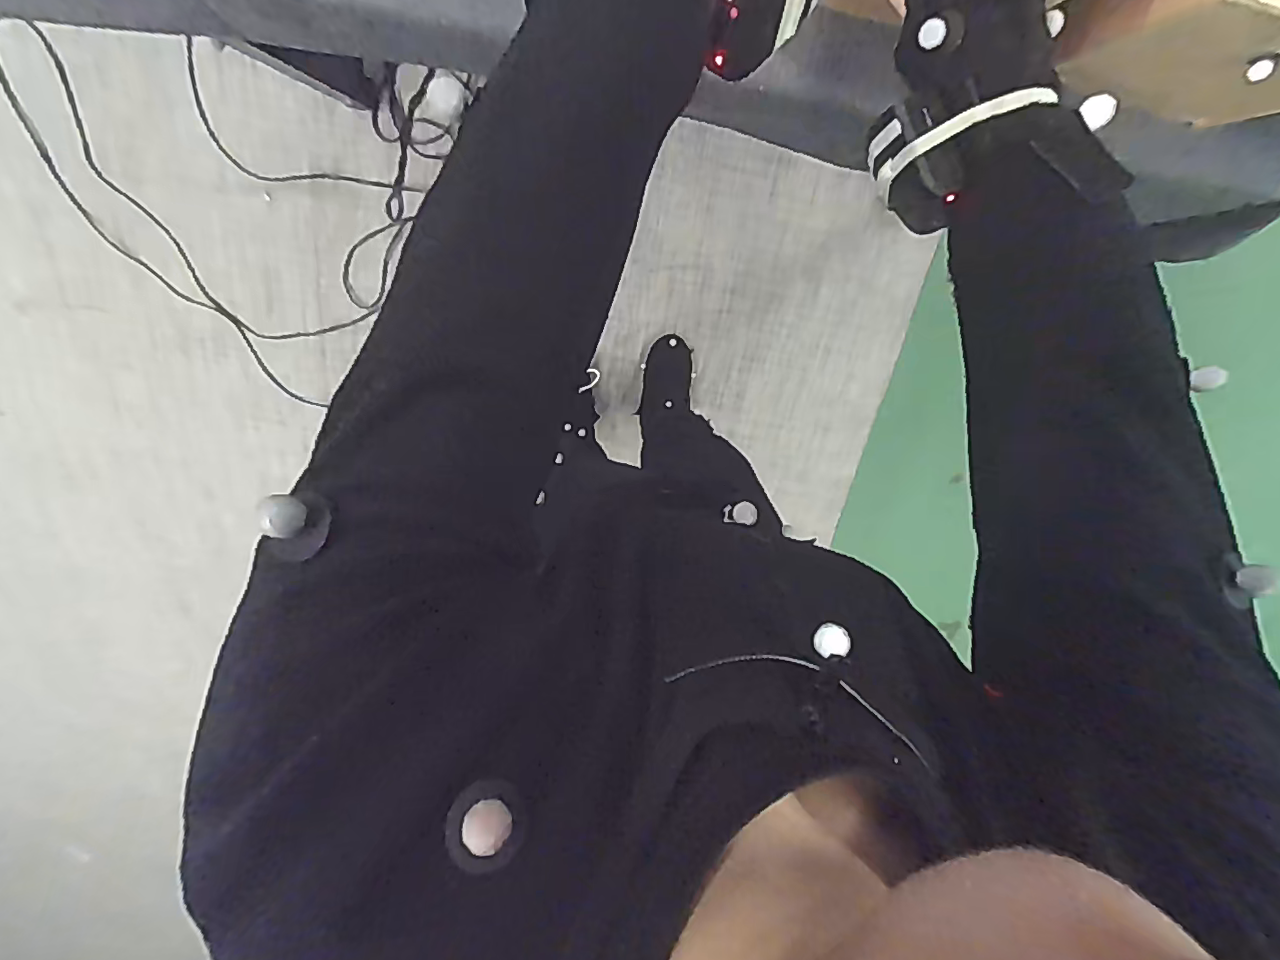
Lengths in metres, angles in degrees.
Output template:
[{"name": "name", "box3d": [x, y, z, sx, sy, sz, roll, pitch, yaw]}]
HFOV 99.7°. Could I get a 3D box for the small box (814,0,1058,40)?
[{"name": "small box", "box3d": [0.218, -0.416, 0.340, 0.179, 0.176, 0.168, 11, 113, -6]}]
